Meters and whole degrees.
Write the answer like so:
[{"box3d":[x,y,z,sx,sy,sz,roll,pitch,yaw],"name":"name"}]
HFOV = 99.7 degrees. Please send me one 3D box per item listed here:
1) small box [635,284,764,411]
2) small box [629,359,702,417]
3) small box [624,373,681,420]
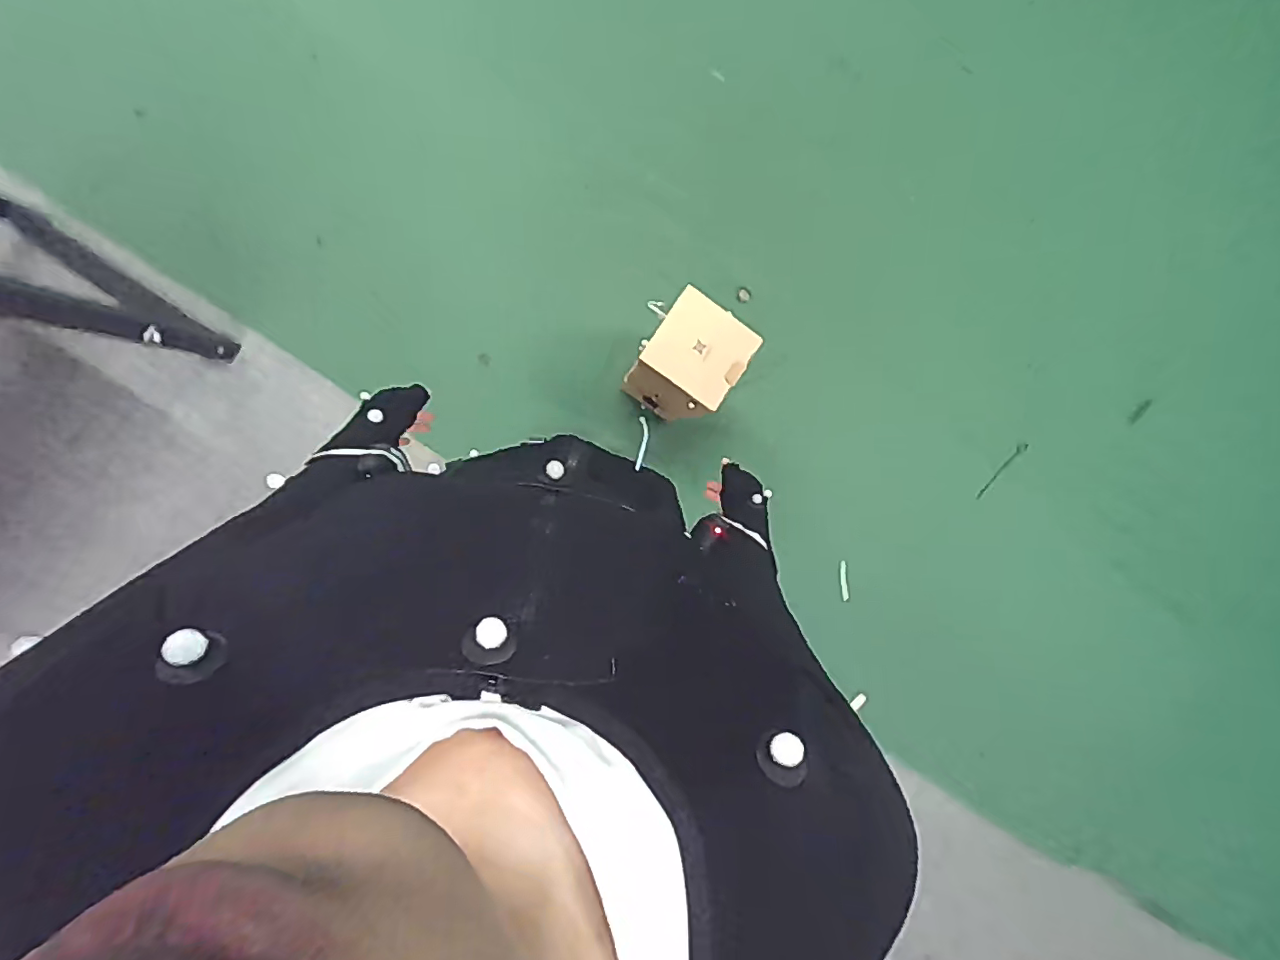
[{"box3d":[0.106,-0.248,1.066,0.179,0.176,0.168,35,90,-8],"name":"small box"},{"box3d":[0.093,-0.258,1.225,0.179,0.176,0.168,38,88,-8],"name":"small box"},{"box3d":[0.071,-0.272,1.390,0.168,0.176,0.179,36,91,-7],"name":"small box"}]
